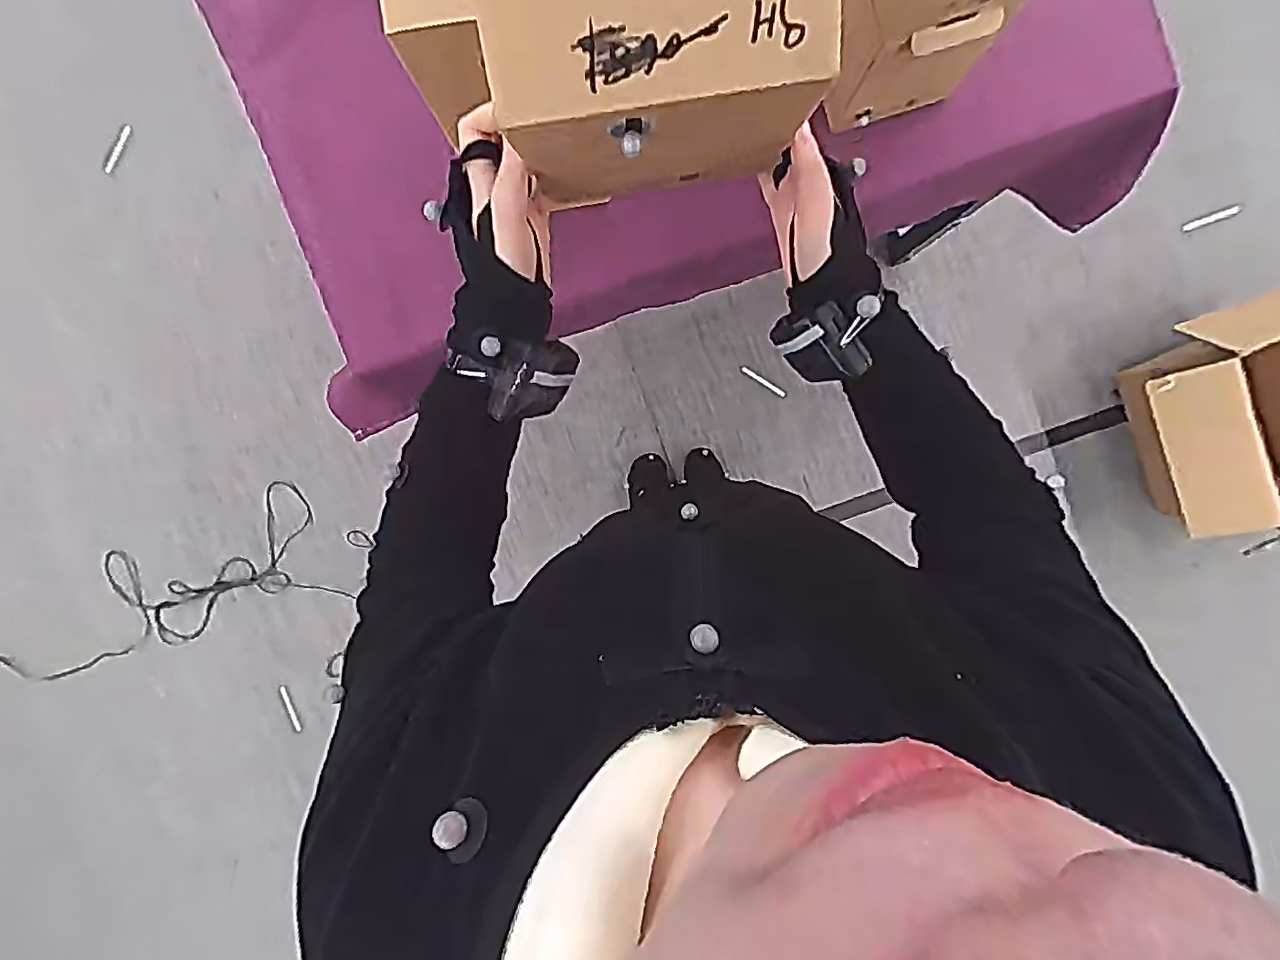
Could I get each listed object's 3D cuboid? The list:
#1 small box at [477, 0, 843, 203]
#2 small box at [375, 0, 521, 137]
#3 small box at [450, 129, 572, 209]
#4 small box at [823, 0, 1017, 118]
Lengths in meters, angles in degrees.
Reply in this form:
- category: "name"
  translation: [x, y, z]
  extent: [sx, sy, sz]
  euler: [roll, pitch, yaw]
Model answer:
- category: "small box"
  translation: [0.004, -0.280, 0.308]
  extent: [0.168, 0.176, 0.179]
  euler: [-7, 106, 3]
- category: "small box"
  translation: [-0.132, -0.453, 0.505]
  extent: [0.179, 0.176, 0.168]
  euler: [-8, 94, 0]
- category: "small box"
  translation: [-0.137, -0.459, 0.669]
  extent: [0.168, 0.176, 0.179]
  euler: [-9, 93, 0]
- category: "small box"
  translation: [0.311, -0.582, 0.658]
  extent: [0.168, 0.176, 0.179]
  euler: [-17, 92, 1]
